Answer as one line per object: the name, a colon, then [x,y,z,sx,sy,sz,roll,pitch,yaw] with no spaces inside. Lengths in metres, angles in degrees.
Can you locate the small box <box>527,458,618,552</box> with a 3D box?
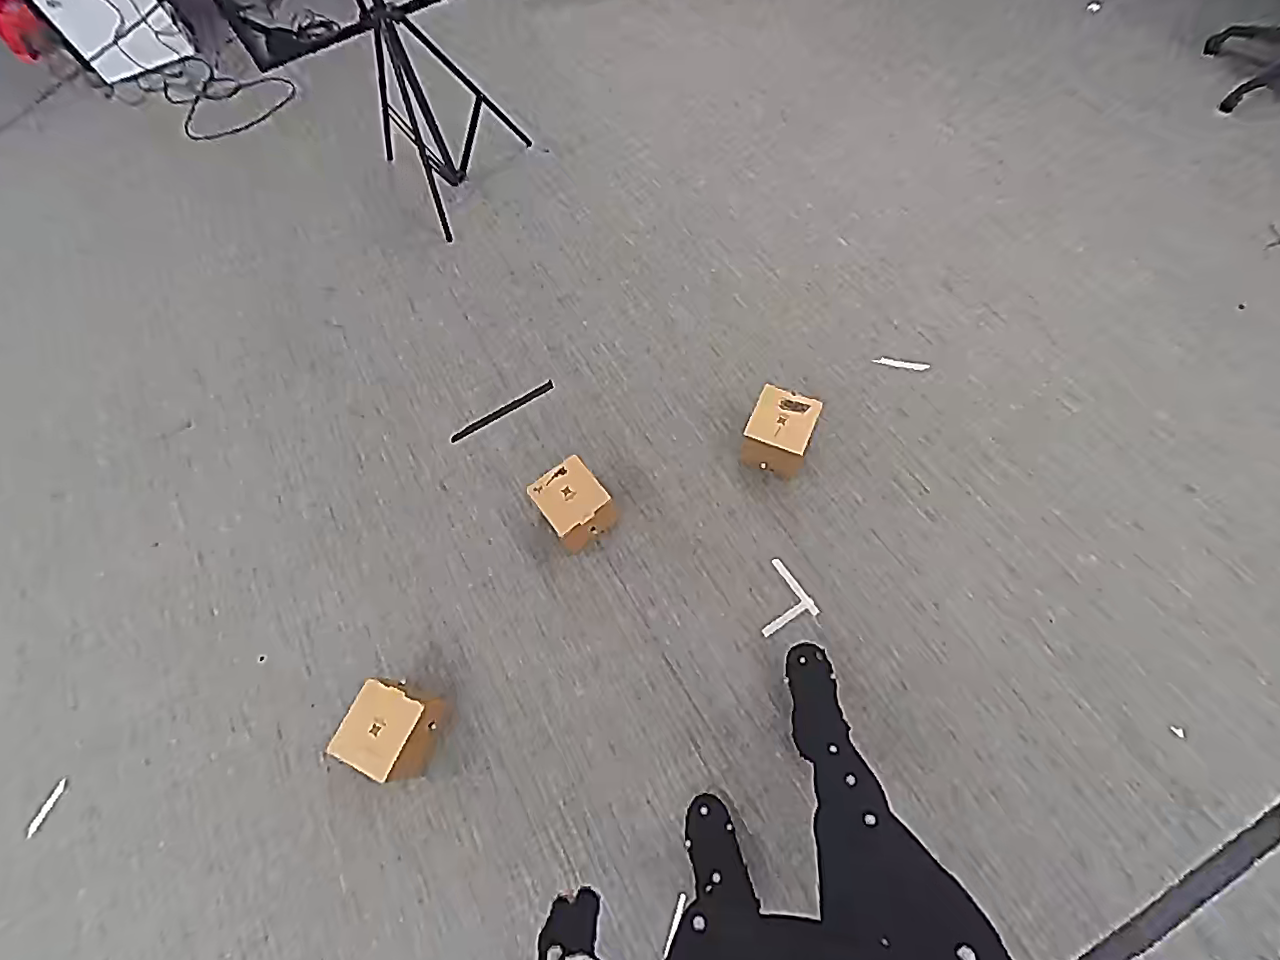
small box: [-0.176,0.078,1.482,0.168,0.176,0.179,-36,68,-11]

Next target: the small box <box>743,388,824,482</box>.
small box: [0.395,-0.123,1.516,0.168,0.176,0.179,22,71,15]

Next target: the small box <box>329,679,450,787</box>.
small box: [-0.581,0.597,1.287,0.168,0.176,0.179,19,70,15]
